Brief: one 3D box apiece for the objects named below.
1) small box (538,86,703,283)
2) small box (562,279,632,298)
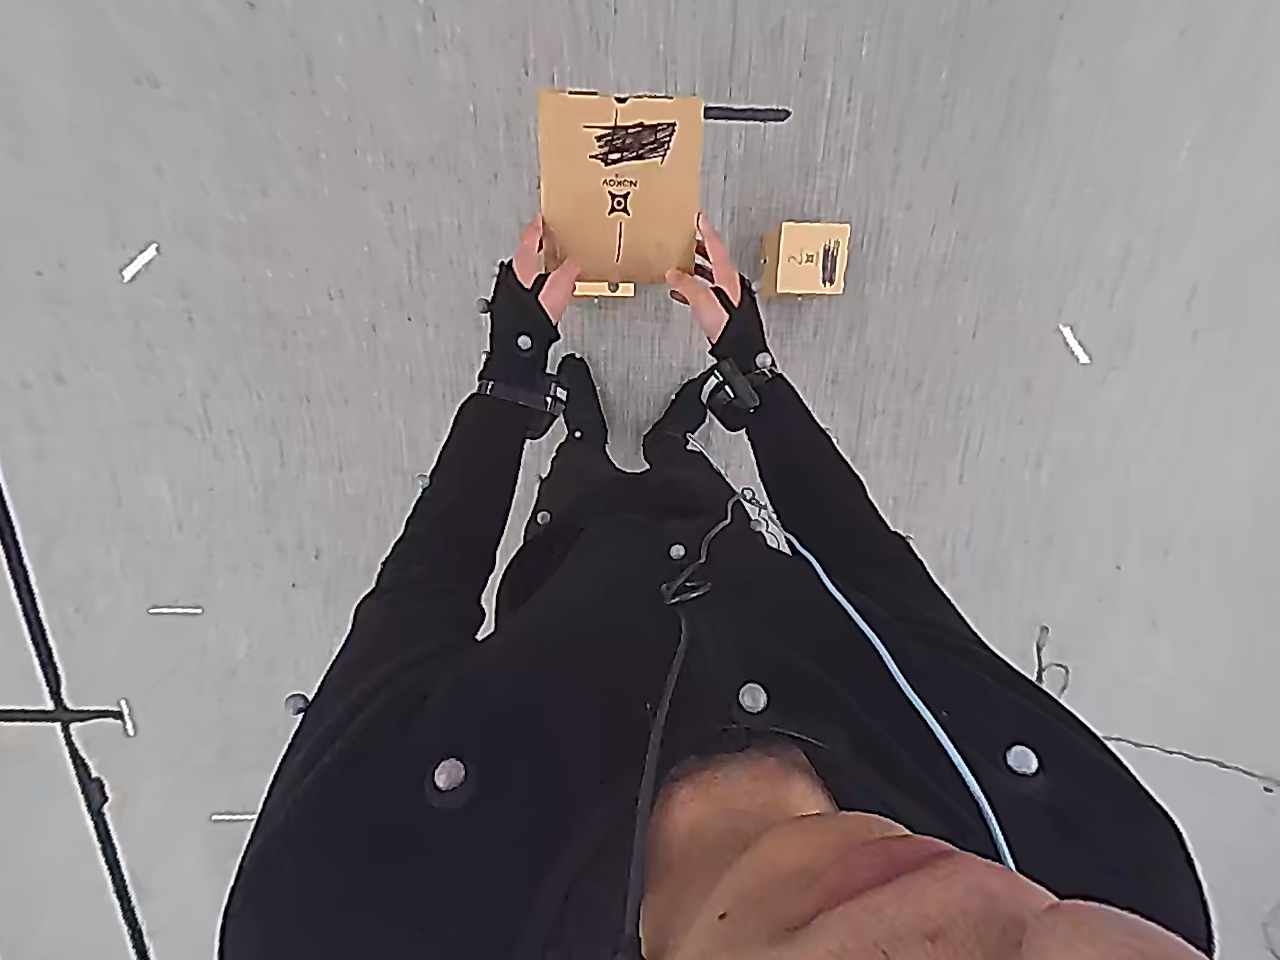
[{"bbox_3d":[-0.026,-0.328,0.629,0.168,0.176,0.179,0,114,-3],"label":"small box"},{"bbox_3d":[-0.110,-0.564,1.397,0.179,0.176,0.168,0,106,-2],"label":"small box"}]
